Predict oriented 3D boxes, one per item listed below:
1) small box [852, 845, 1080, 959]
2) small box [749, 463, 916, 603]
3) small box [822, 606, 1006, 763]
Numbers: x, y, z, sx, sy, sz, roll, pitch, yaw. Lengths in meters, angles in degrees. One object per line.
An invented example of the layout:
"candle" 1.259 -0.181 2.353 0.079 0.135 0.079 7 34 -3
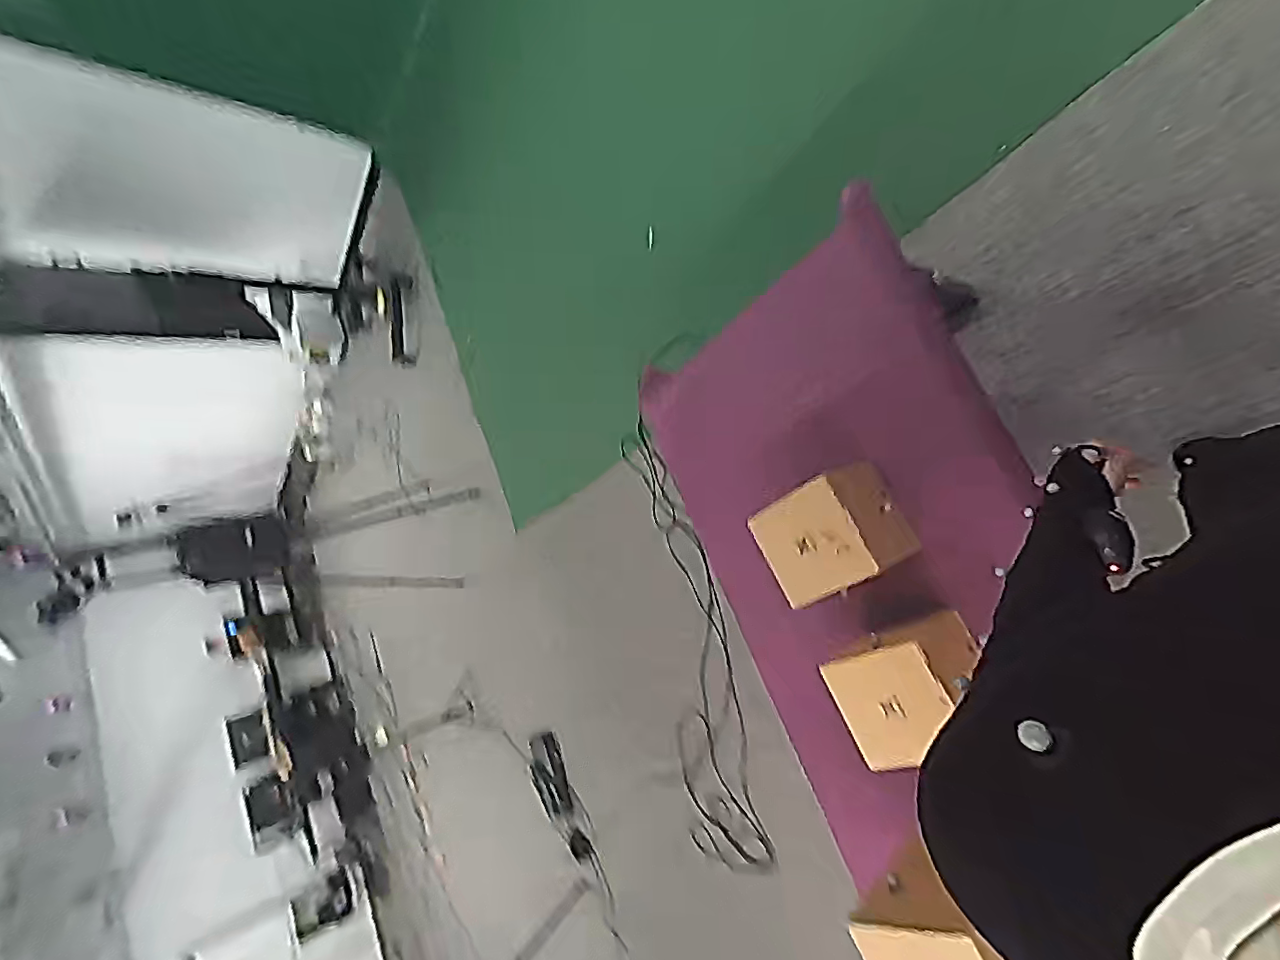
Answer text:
"small box" 0.417 0.597 0.687 0.179 0.176 0.168 -41 69 43
"small box" 0.327 0.086 0.921 0.179 0.176 0.168 -41 69 42
"small box" 0.434 0.320 0.858 0.179 0.176 0.168 -40 69 42
